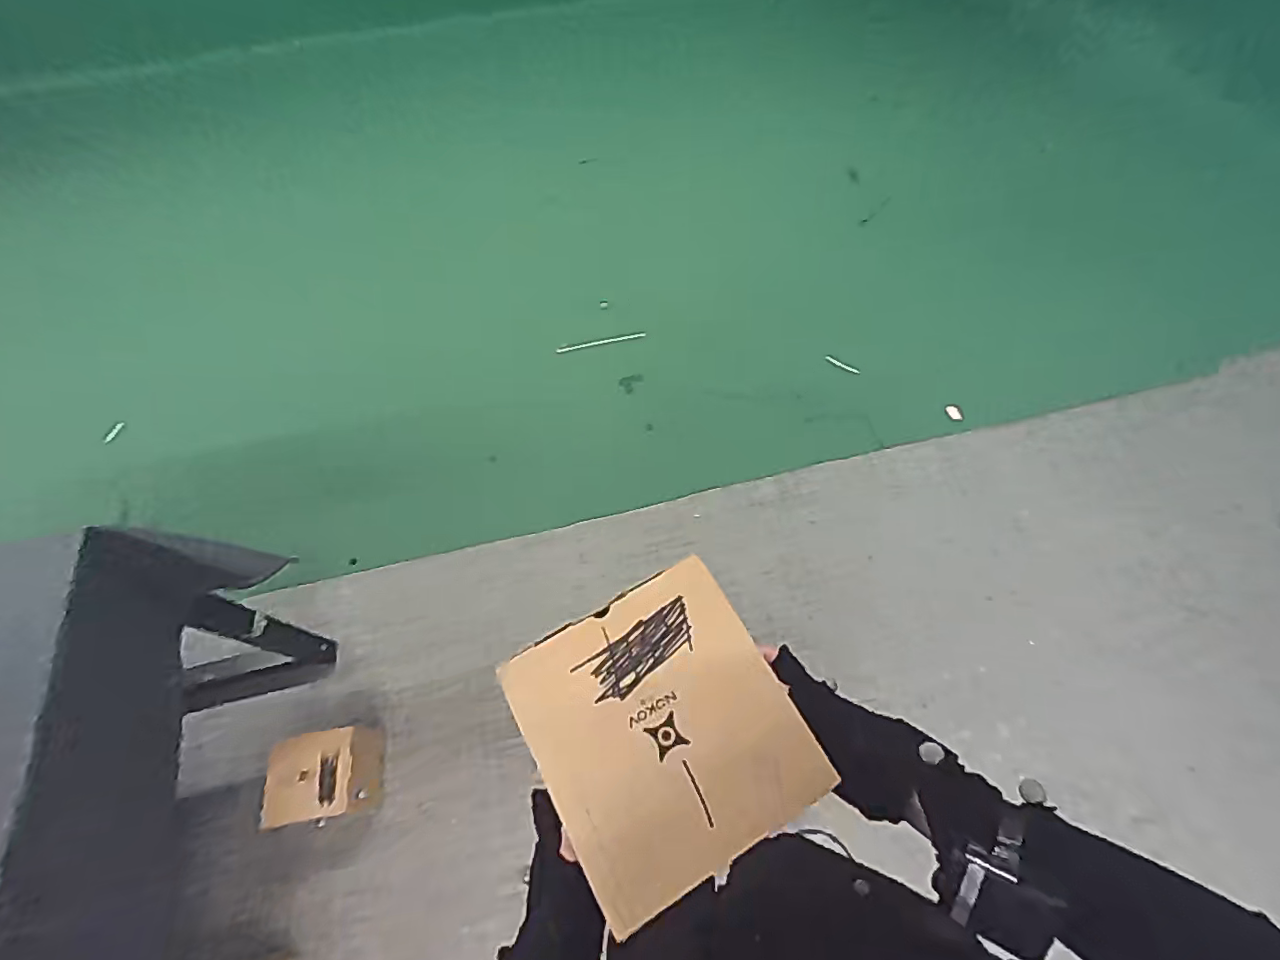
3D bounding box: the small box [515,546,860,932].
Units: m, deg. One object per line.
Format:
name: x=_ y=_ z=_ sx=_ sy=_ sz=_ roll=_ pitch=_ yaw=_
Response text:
small box: x=0.024 y=0.182 z=0.418 sx=0.168 sy=0.176 sz=0.179 roll=-26 pitch=69 yaw=-11
